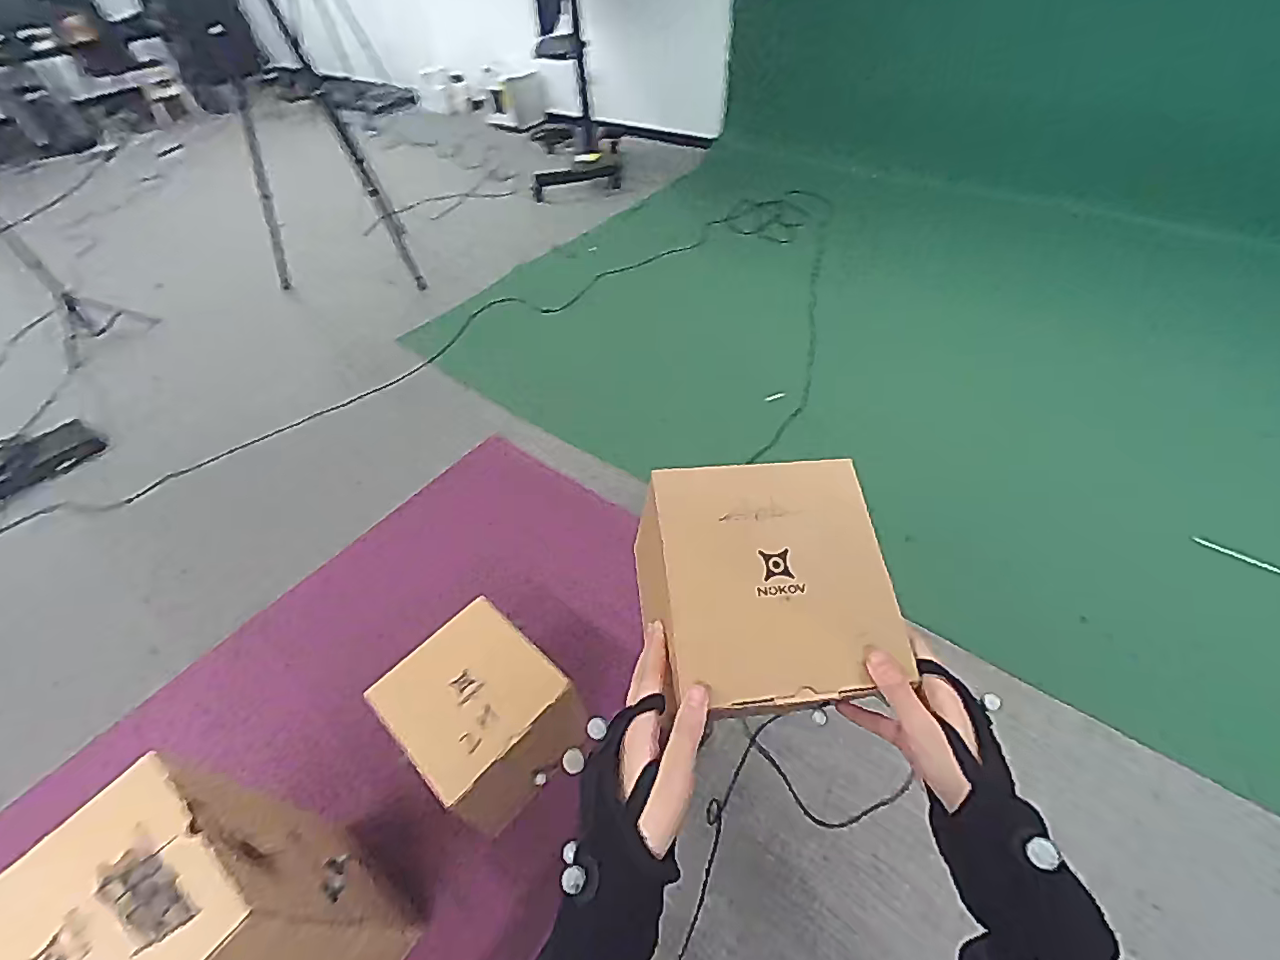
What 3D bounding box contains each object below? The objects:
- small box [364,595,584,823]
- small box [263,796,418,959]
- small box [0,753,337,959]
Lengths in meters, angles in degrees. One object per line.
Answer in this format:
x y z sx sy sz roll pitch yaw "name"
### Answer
-0.193 0.284 0.668 0.179 0.176 0.168 32 60 30 "small box"
-0.358 0.460 0.530 0.168 0.176 0.179 27 56 26 "small box"
-0.366 0.351 0.406 0.168 0.176 0.179 28 57 27 "small box"
